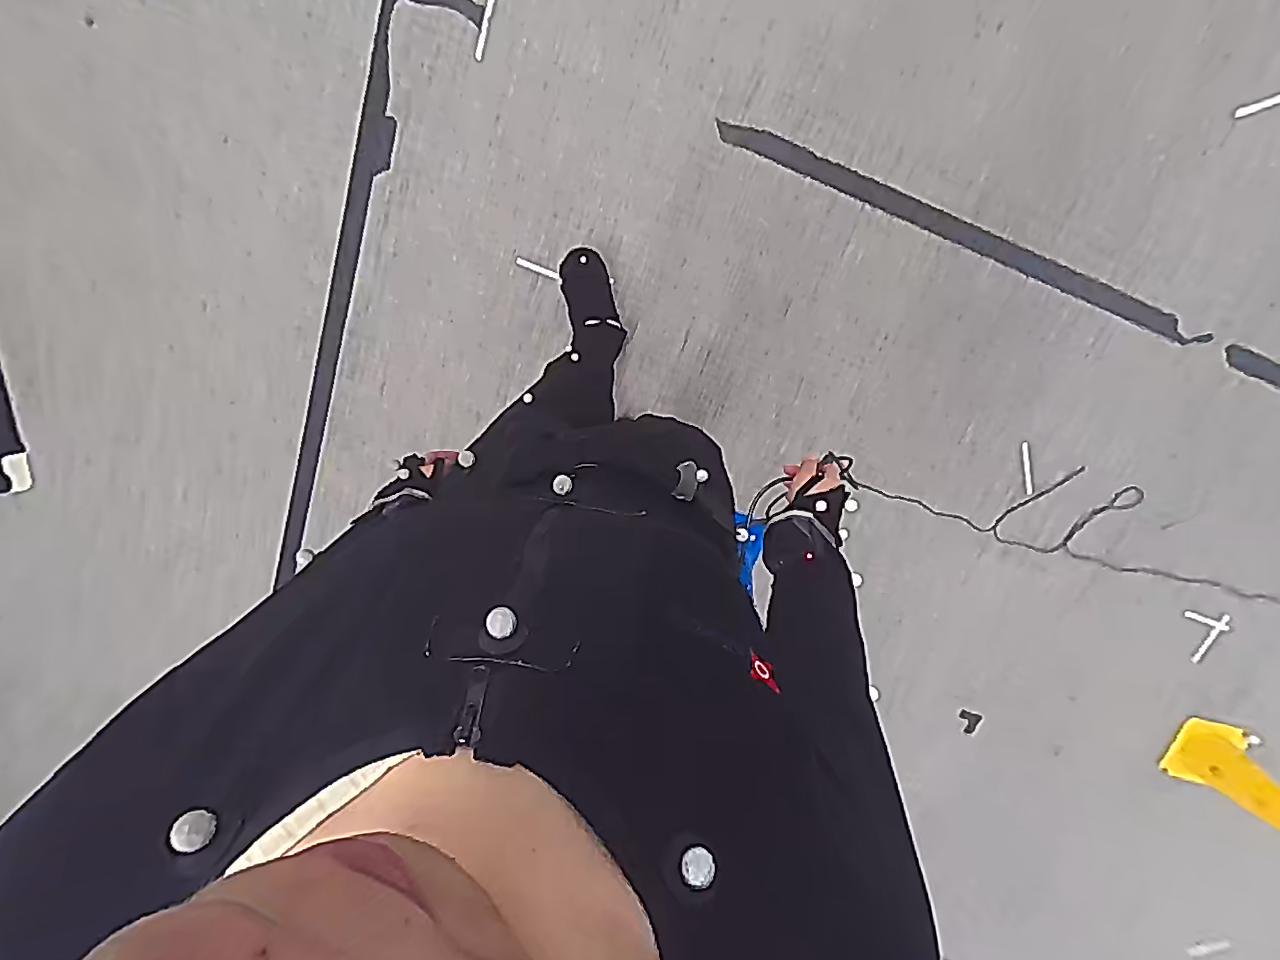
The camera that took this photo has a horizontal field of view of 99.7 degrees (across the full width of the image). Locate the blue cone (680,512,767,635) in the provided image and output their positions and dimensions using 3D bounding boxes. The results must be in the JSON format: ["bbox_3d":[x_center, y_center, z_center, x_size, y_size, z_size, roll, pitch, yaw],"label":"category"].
[{"bbox_3d":[0.212,0.229,1.248,0.193,0.380,0.192,21,106,-5],"label":"blue cone"}]
